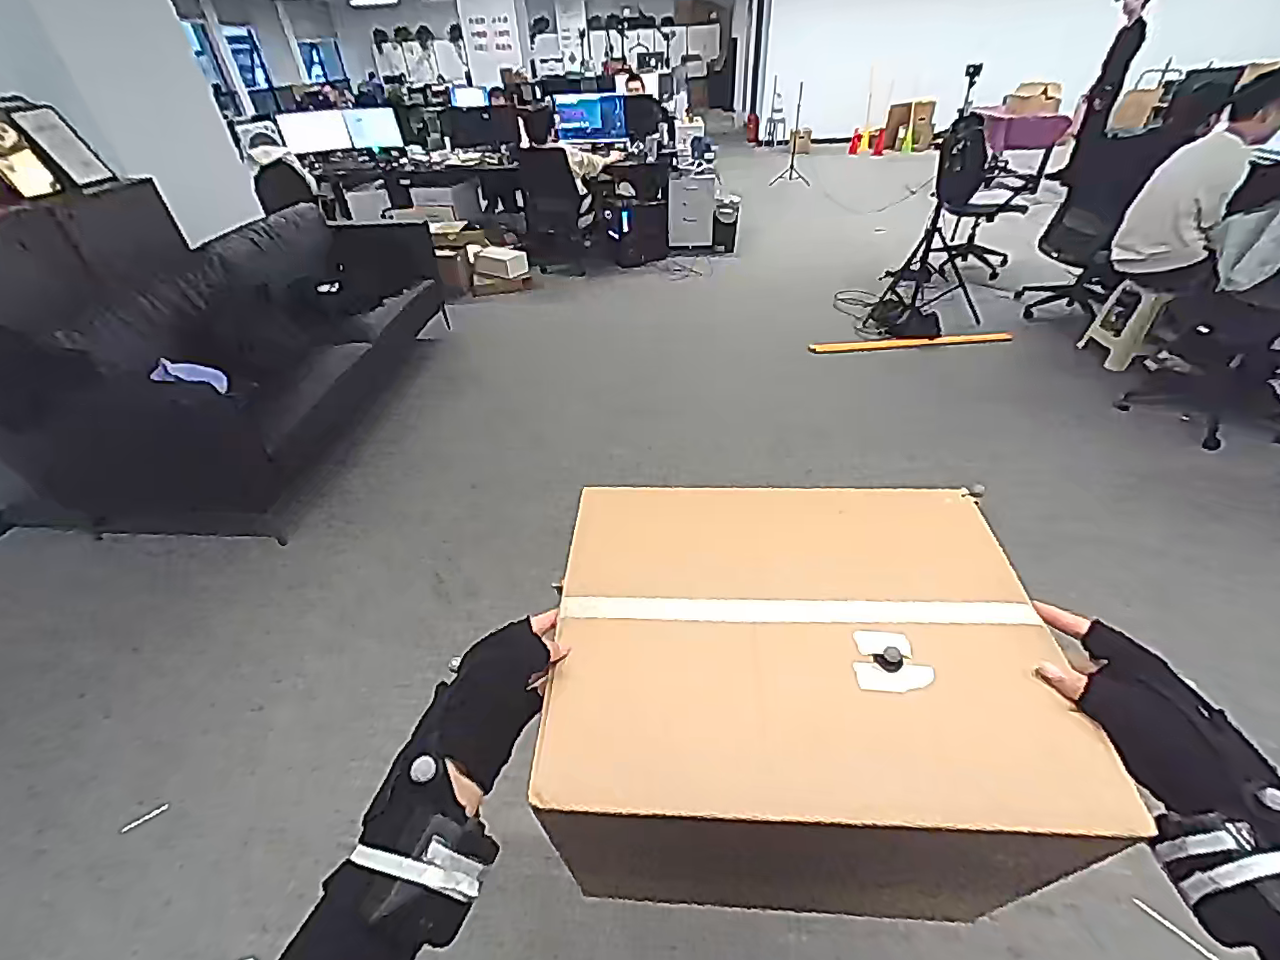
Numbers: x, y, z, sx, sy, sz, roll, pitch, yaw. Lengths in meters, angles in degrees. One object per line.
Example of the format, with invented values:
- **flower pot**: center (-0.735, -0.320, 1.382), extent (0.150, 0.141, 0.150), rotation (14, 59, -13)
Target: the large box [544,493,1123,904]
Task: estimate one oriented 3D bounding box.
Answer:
- **large box**: center (0.139, 0.230, 0.580), extent (0.408, 0.320, 0.320), rotation (0, 44, 4)
